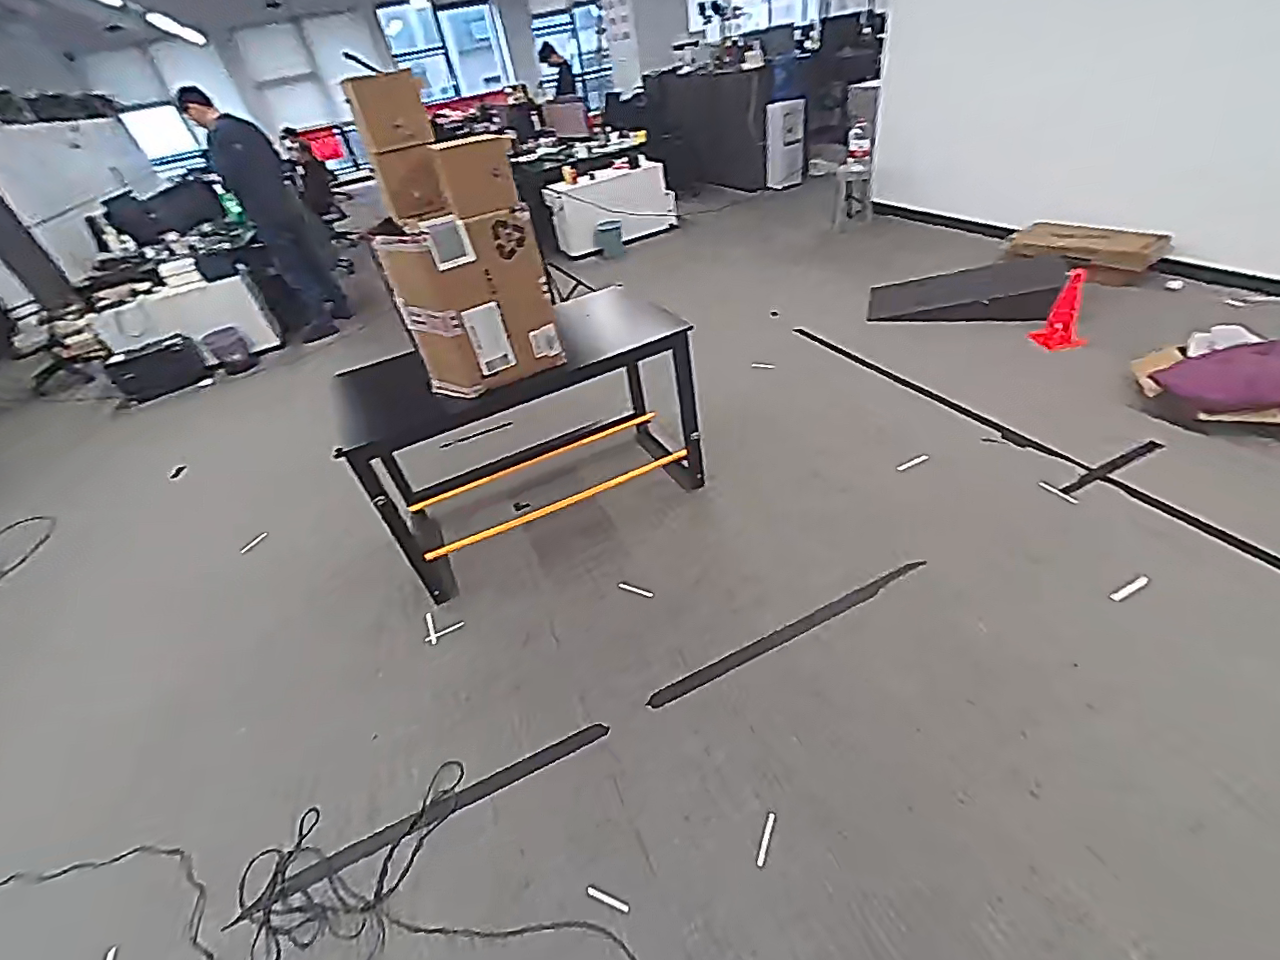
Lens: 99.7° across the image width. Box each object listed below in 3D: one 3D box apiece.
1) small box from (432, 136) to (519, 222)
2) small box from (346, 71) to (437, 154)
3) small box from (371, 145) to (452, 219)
[{"bbox_3d":[-0.448,-0.835,1.496,0.179,0.176,0.168,-24,40,-16],"label":"small box"},{"bbox_3d":[-0.691,-1.017,1.507,0.168,0.176,0.179,-27,39,-20],"label":"small box"},{"bbox_3d":[-0.676,-0.887,1.609,0.168,0.176,0.179,-25,39,-19],"label":"small box"}]
